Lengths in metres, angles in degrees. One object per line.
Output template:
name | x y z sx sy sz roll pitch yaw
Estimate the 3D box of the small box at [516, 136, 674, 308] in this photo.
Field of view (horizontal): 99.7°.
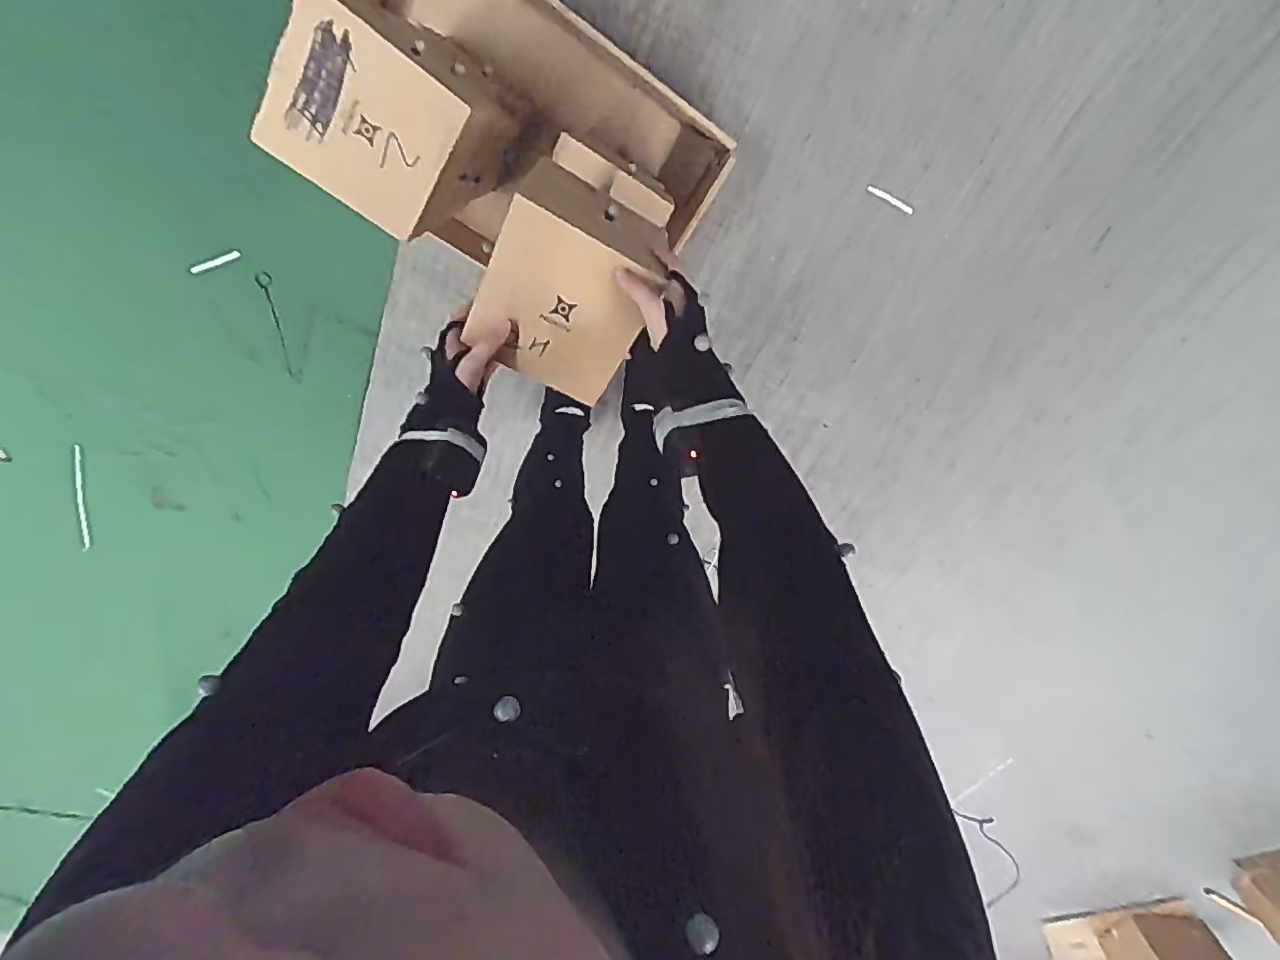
small box | -0.063 -0.400 0.833 0.179 0.176 0.168 28 119 -14
